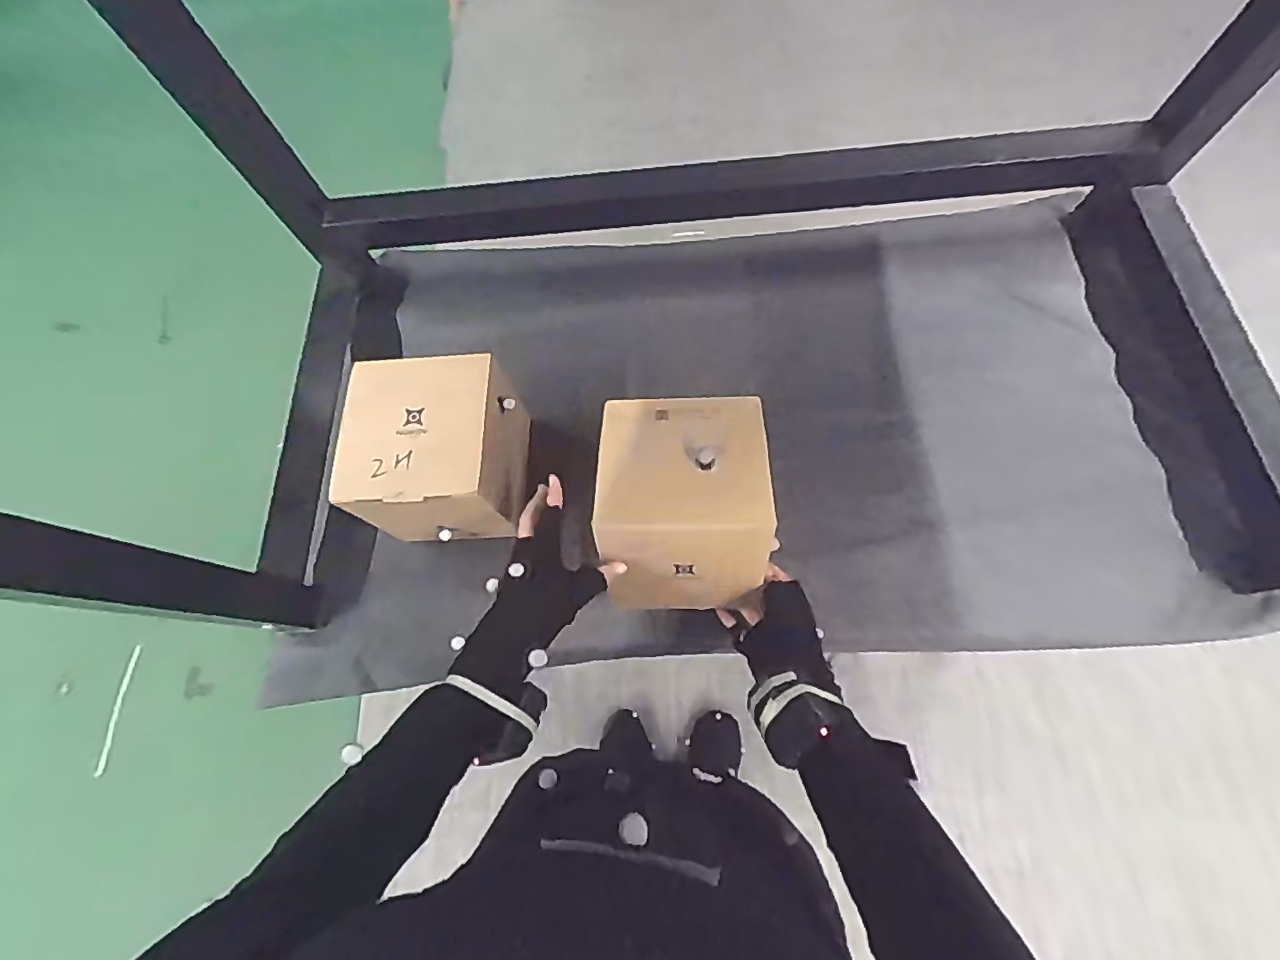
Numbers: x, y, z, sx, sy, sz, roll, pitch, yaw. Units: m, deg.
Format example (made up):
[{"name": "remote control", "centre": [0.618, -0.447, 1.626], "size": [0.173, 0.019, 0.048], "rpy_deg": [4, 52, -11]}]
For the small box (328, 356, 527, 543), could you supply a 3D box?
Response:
[{"name": "small box", "centre": [-0.244, -0.030, 0.671], "size": [0.168, 0.176, 0.179], "rpy_deg": [-3, 68, 4]}]

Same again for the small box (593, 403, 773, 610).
[{"name": "small box", "centre": [0.045, 0.028, 0.594], "size": [0.168, 0.179, 0.176], "rpy_deg": [-1, 52, 5]}]
